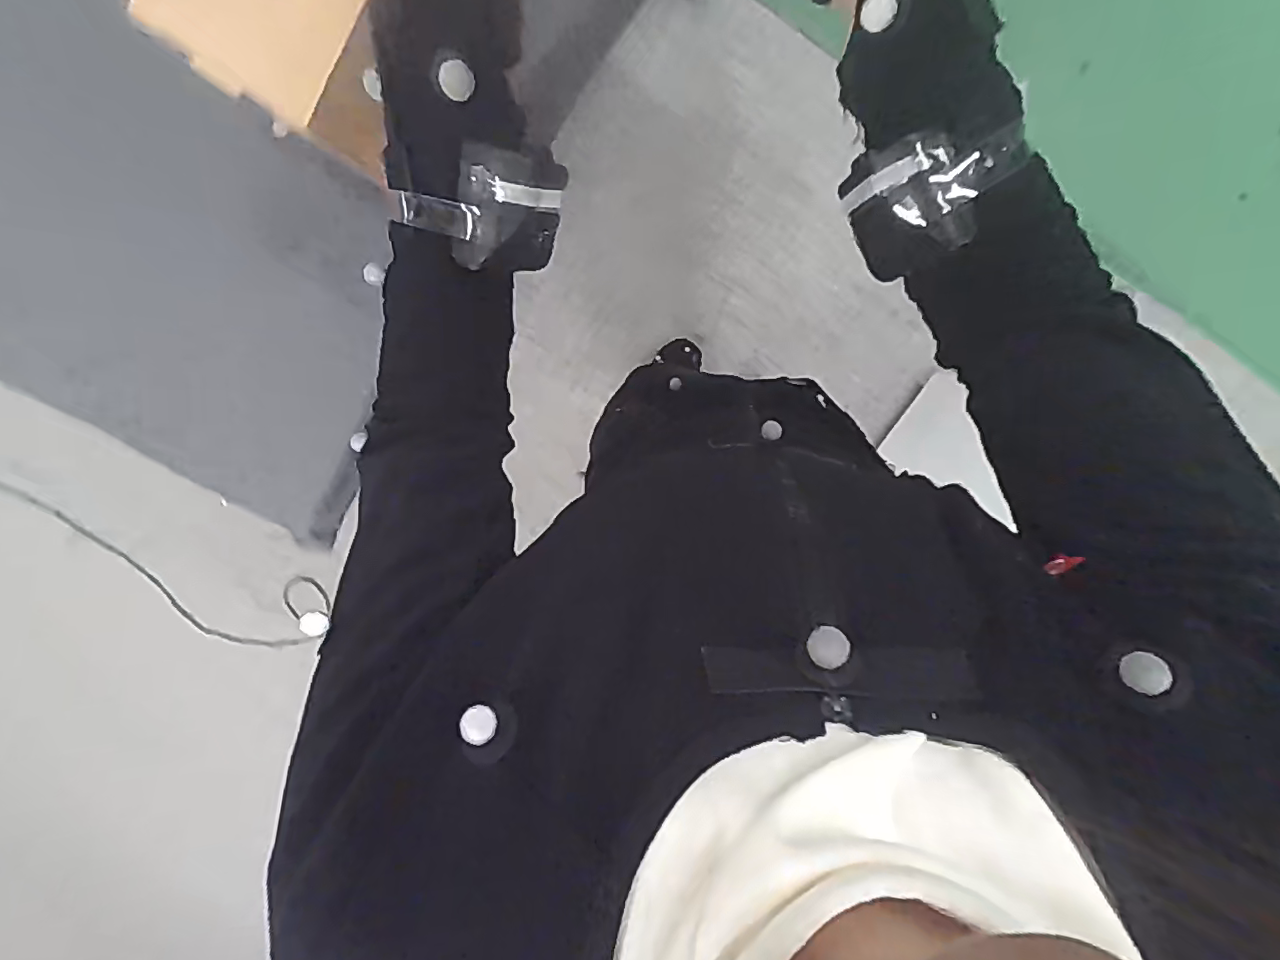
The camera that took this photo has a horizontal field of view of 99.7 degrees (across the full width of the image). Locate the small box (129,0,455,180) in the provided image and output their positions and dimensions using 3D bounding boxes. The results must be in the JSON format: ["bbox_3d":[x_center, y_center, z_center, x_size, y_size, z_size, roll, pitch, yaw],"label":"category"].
[{"bbox_3d":[-0.304,-0.424,0.511,0.168,0.176,0.179,33,103,-6],"label":"small box"}]
